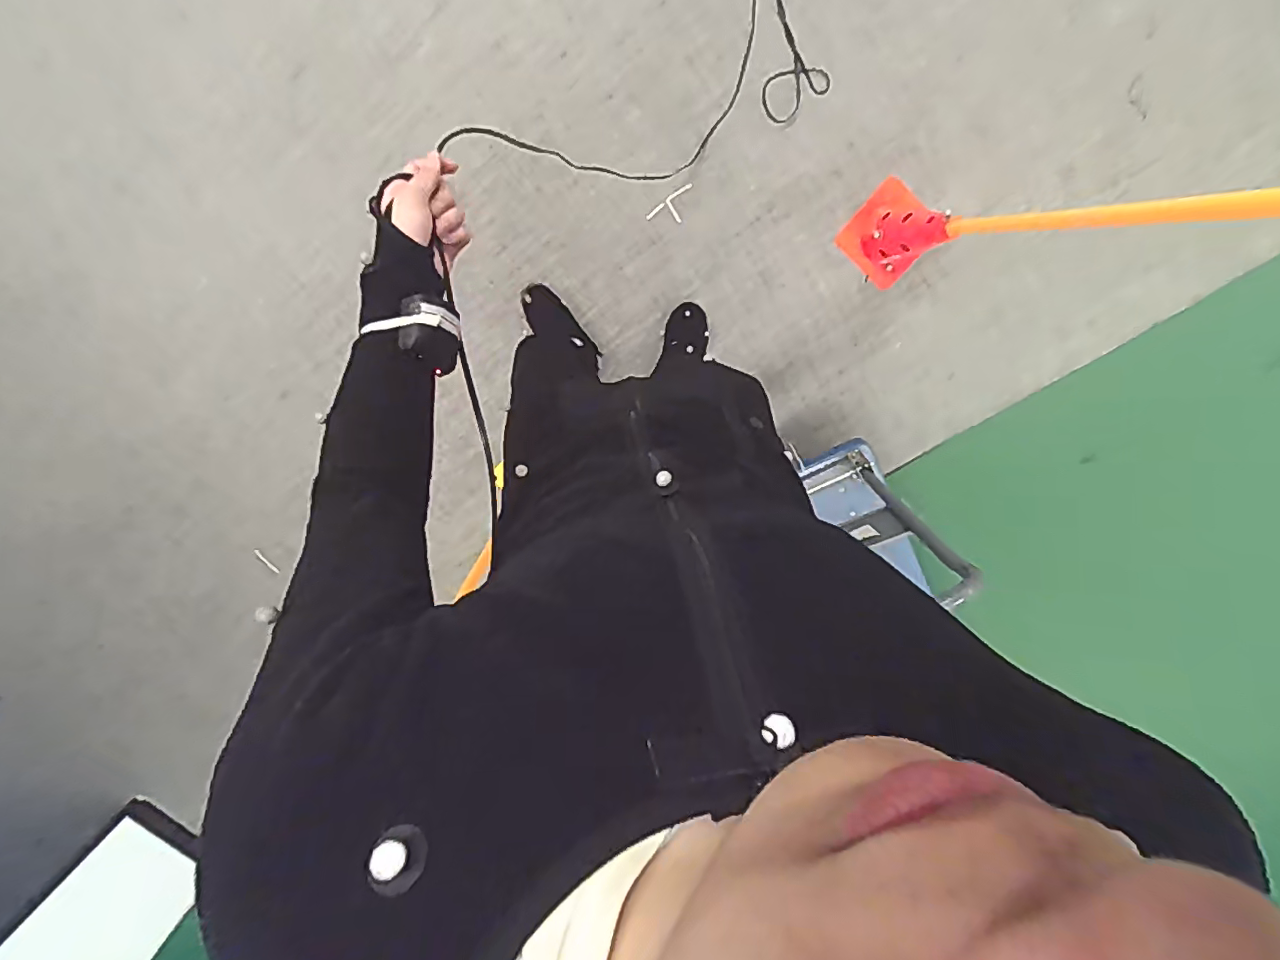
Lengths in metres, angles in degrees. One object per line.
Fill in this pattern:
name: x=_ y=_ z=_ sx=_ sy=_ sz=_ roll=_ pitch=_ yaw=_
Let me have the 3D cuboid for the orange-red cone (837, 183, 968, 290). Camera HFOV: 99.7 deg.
orange-red cone: x=0.628 y=-0.554 z=1.219 sx=0.198 sy=0.360 sz=0.199 roll=39 pitch=107 yaw=-13
